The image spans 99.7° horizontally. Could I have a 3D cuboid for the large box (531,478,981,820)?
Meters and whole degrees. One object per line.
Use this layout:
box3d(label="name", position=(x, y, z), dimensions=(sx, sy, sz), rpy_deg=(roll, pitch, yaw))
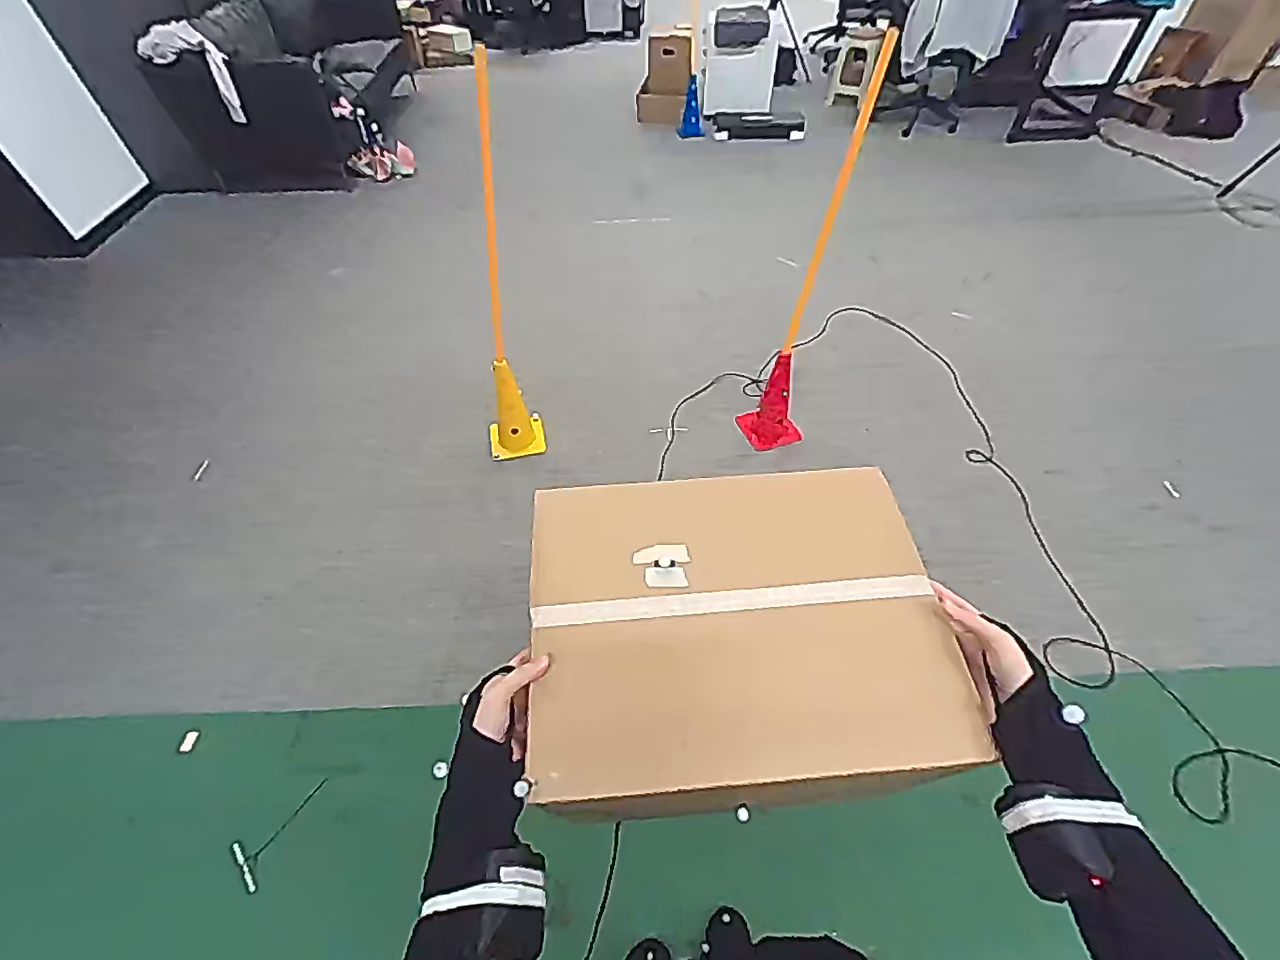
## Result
box3d(label="large box", position=(0.097, 0.221, 0.672), dimensions=(0.408, 0.320, 0.320), rpy_deg=(-4, 55, -2))
